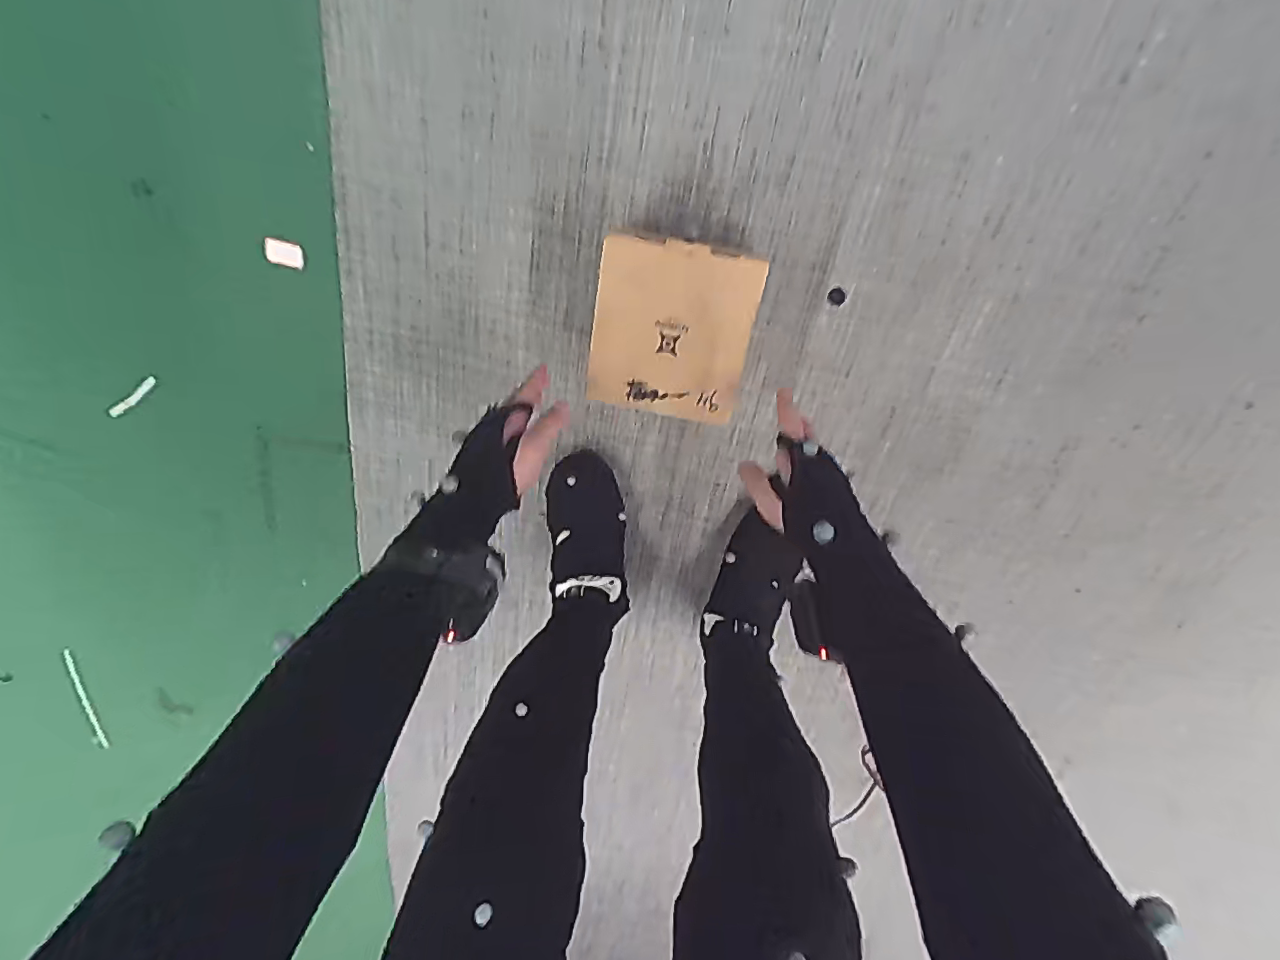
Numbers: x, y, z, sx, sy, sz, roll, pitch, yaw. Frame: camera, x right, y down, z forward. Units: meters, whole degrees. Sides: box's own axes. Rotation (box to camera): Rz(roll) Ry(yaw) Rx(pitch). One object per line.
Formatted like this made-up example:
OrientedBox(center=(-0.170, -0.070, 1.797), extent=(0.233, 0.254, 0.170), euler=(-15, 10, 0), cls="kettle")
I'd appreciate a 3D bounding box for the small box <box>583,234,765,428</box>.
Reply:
OrientedBox(center=(0.036, -0.182, 0.634), extent=(0.168, 0.176, 0.179), euler=(10, 116, 2), cls="small box")
